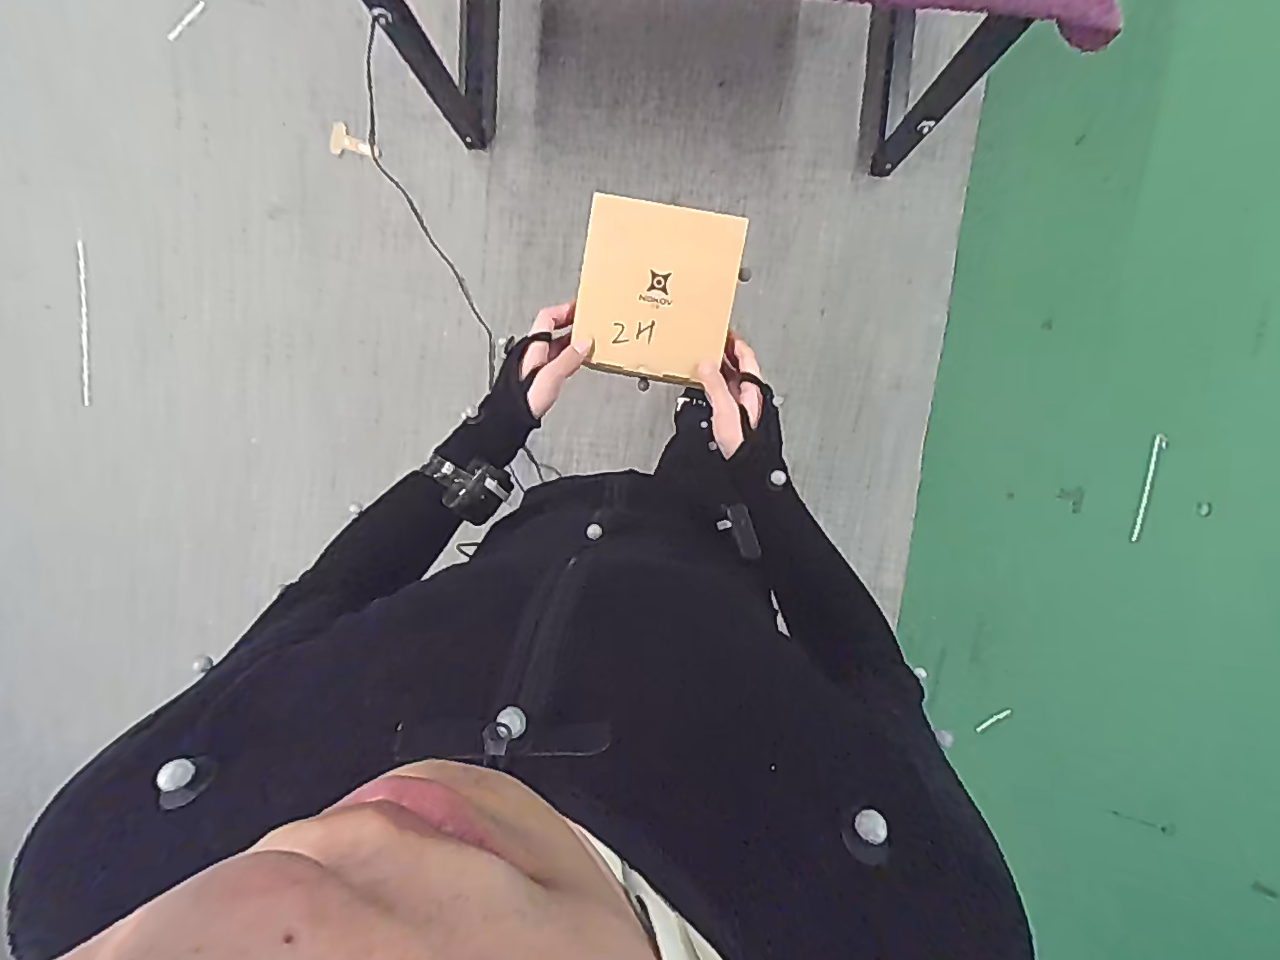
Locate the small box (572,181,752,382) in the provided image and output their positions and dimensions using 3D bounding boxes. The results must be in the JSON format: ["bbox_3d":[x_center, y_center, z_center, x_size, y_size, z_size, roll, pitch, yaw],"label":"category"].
[{"bbox_3d":[0.024,-0.221,0.648,0.168,0.176,0.179,11,99,1],"label":"small box"}]
